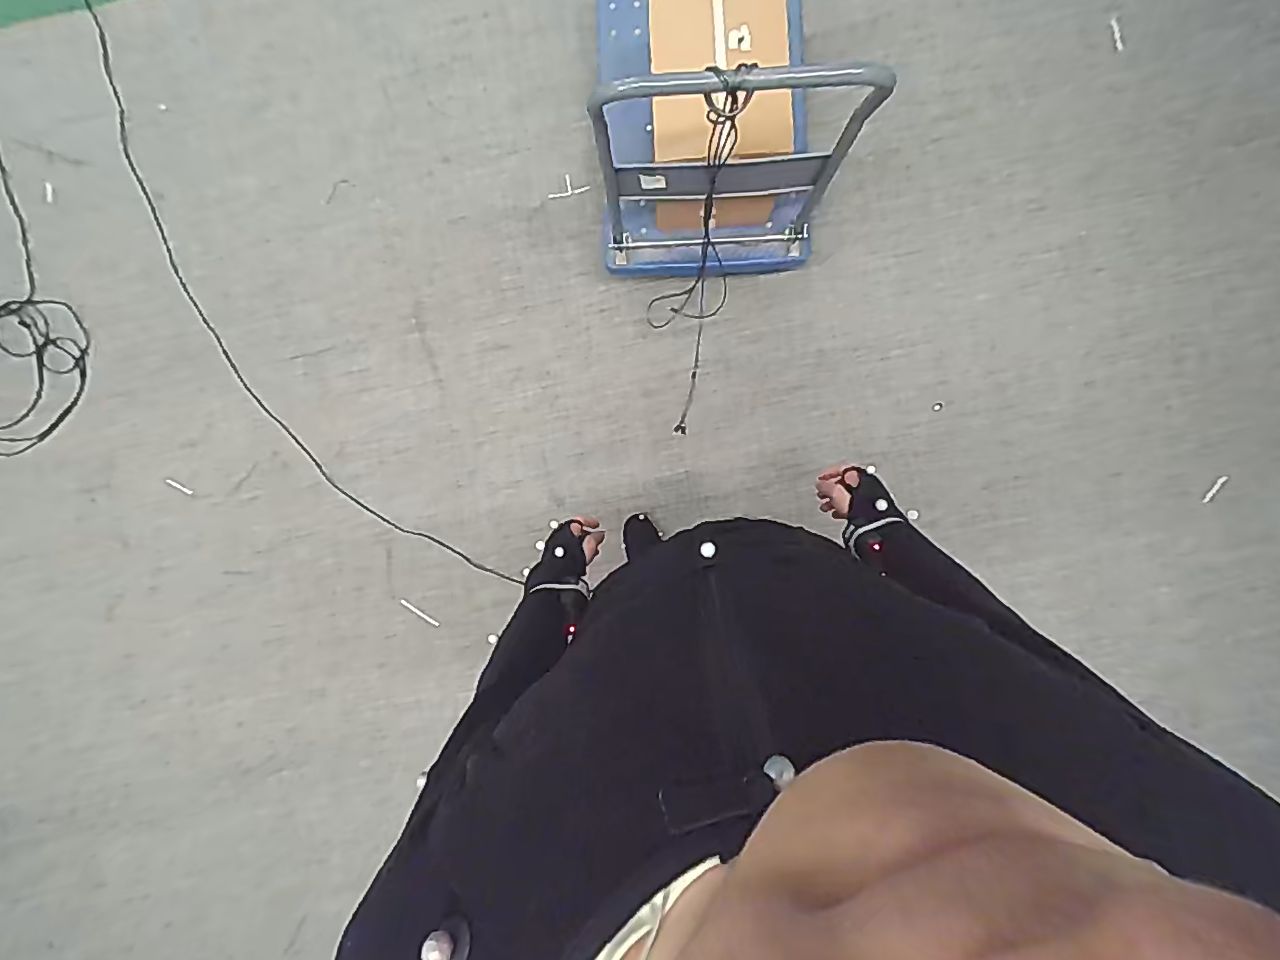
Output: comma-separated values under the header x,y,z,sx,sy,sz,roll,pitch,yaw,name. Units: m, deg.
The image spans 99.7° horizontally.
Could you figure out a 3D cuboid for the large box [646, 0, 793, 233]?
x,y,z,sx,sy,sz,roll,pitch,yaw,name
0.185,-0.899,1.362,0.320,0.320,0.408,-2,87,2,large box
